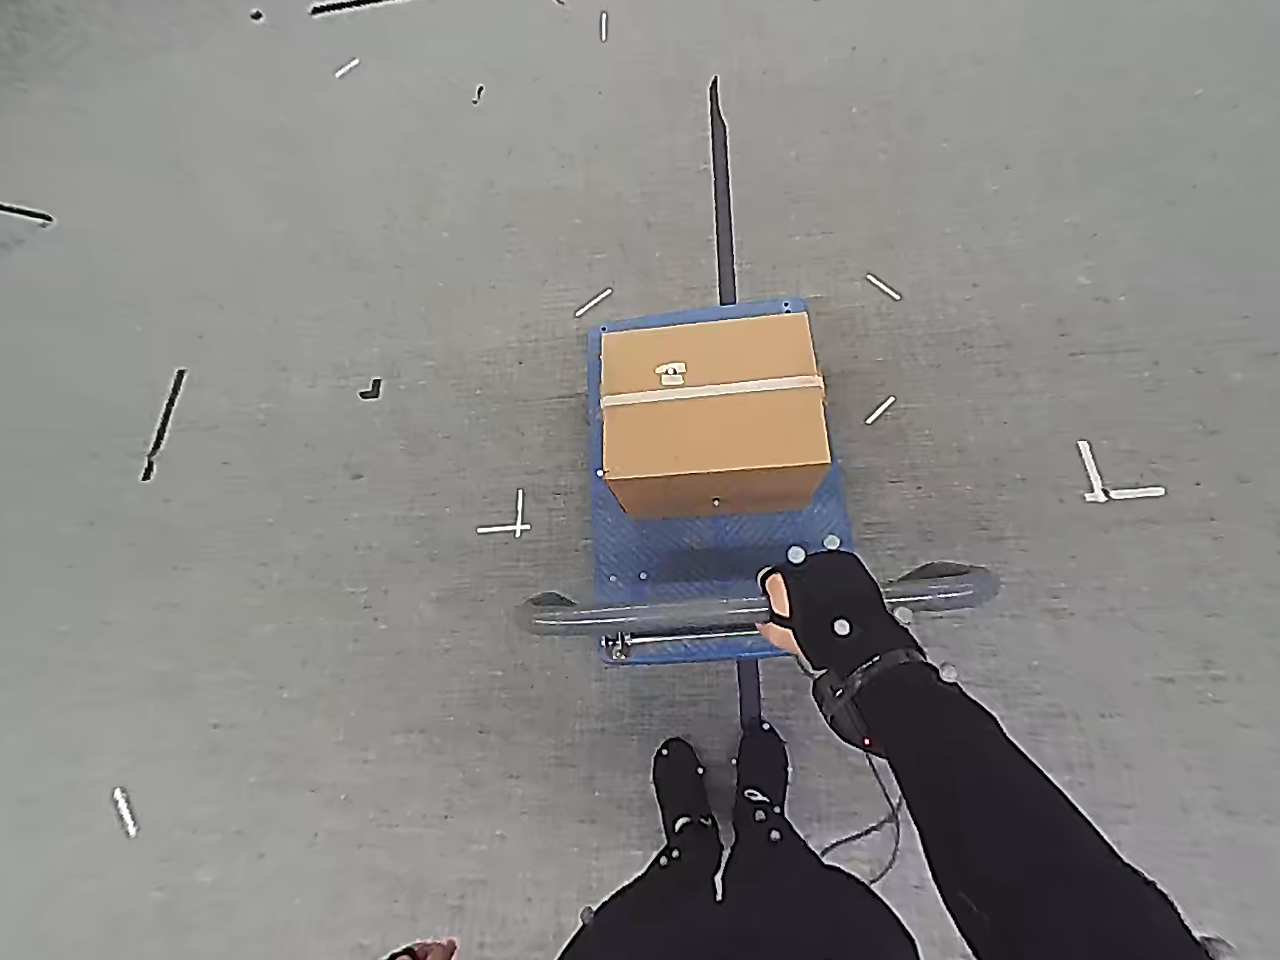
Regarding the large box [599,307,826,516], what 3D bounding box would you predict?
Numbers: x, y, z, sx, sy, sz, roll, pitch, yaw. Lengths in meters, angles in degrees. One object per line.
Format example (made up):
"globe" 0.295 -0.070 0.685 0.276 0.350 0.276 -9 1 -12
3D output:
"large box" 0.146 -0.120 1.148 0.408 0.320 0.320 -5 70 8
